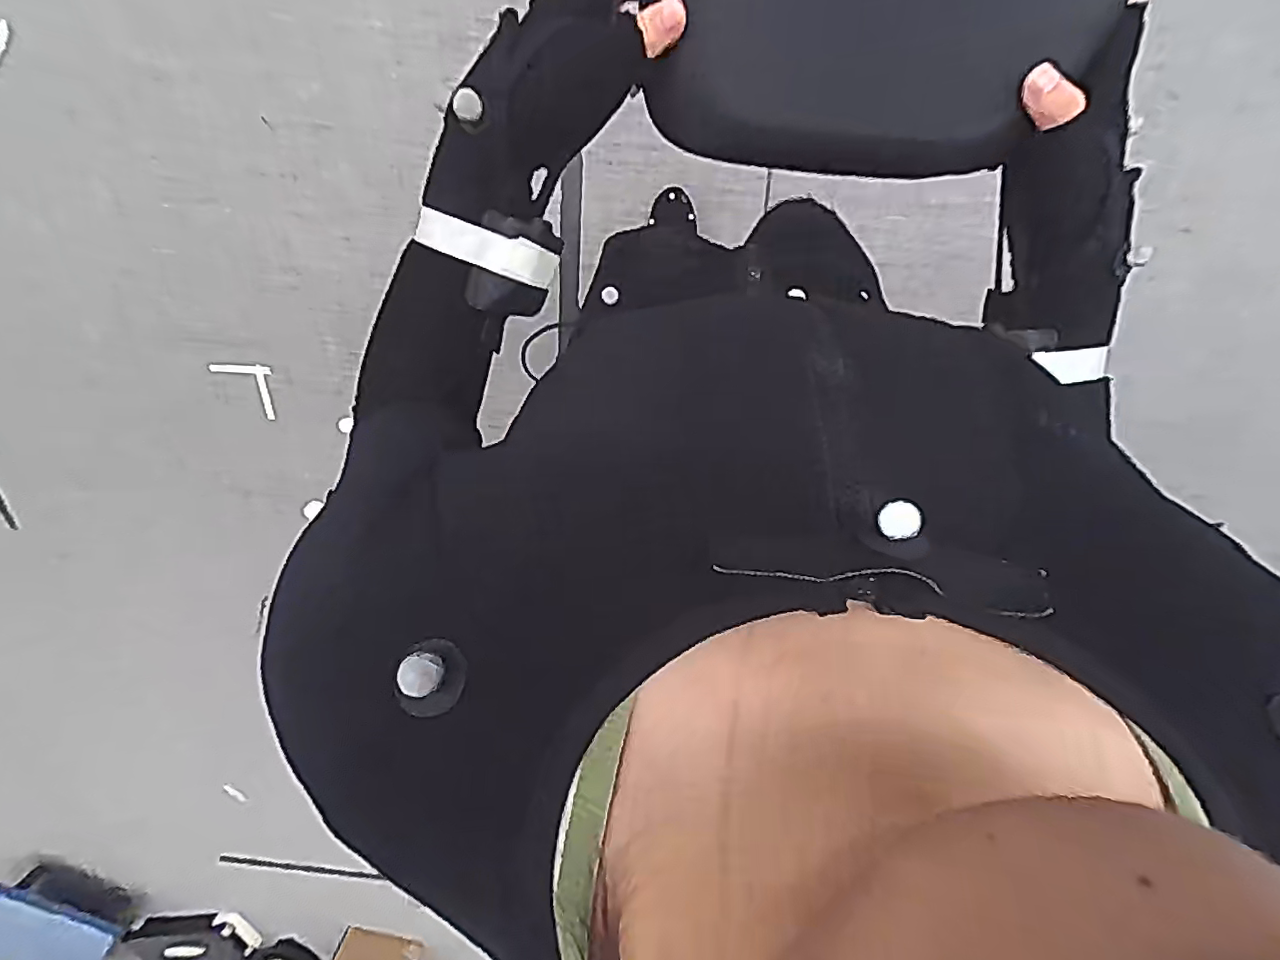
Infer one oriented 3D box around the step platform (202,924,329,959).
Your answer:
[{"bbox_3d":[-2.063,2.637,2.929,0.684,0.204,0.286,-22,113,13],"label":"step platform"}]
